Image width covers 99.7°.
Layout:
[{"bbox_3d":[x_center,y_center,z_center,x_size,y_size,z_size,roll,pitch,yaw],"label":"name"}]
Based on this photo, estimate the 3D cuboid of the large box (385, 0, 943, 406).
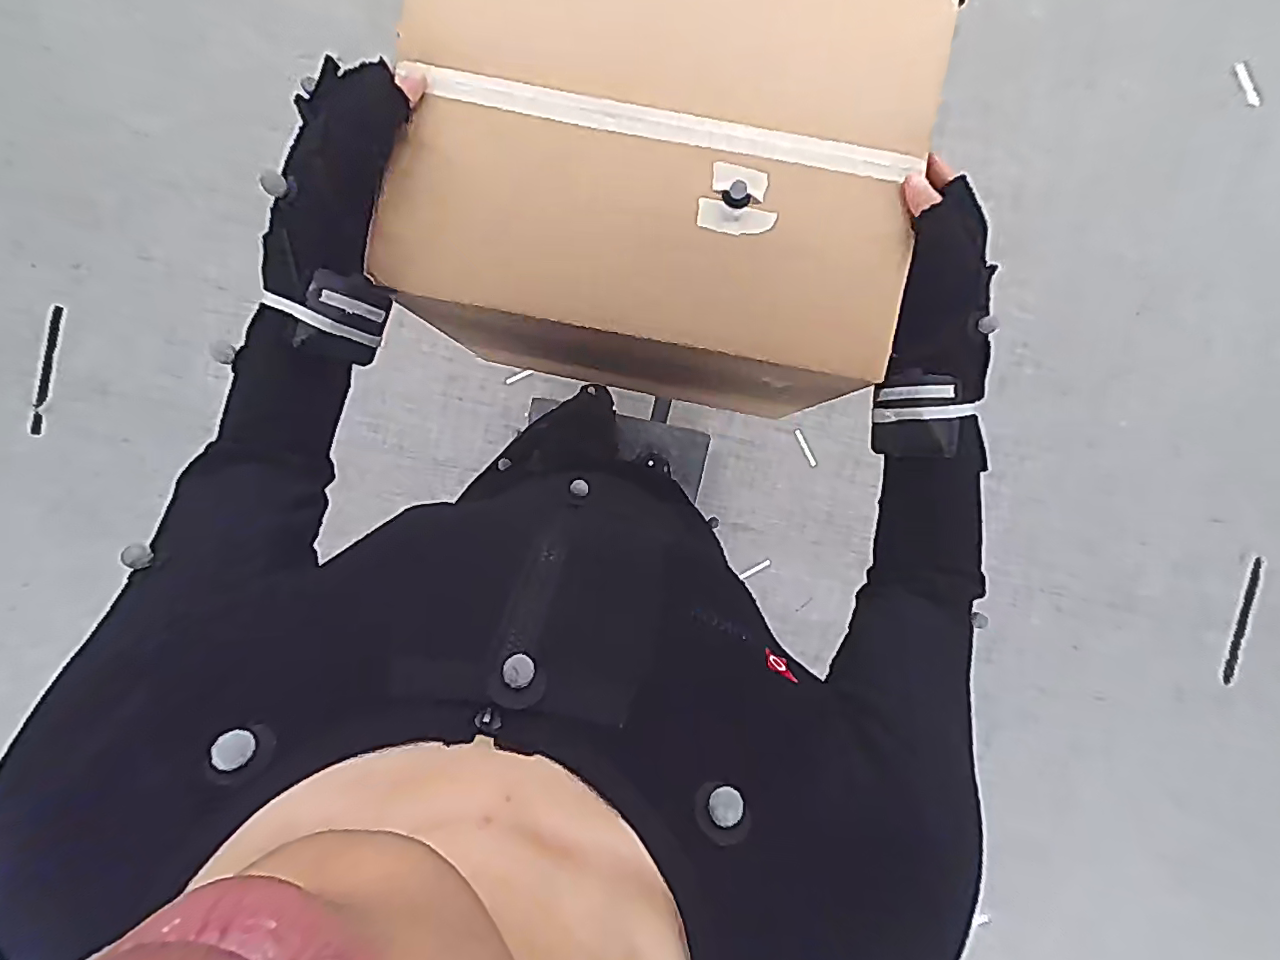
[{"bbox_3d":[0.016,-0.278,0.572,0.408,0.320,0.320,11,92,-1],"label":"large box"}]
